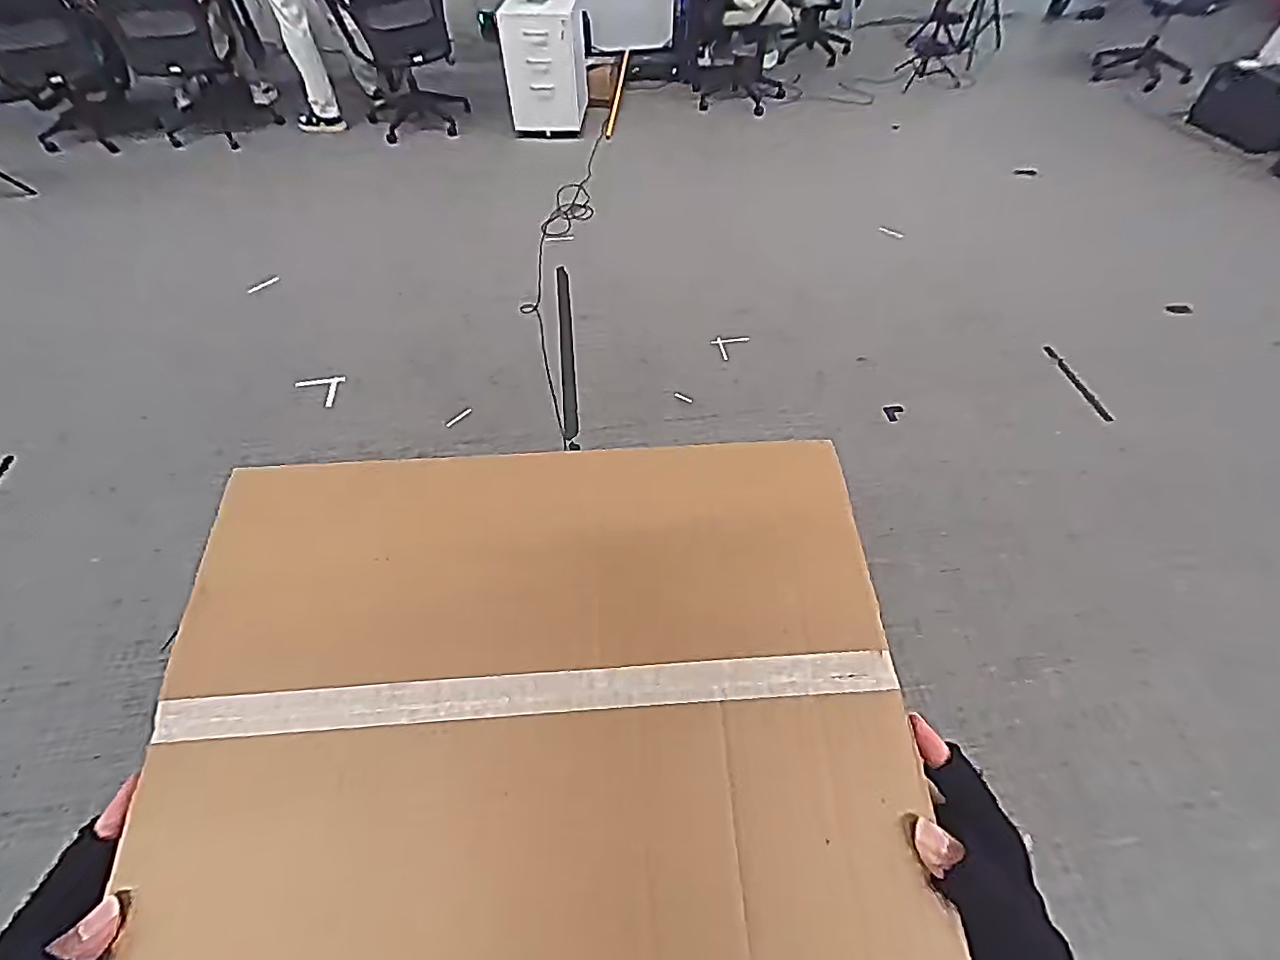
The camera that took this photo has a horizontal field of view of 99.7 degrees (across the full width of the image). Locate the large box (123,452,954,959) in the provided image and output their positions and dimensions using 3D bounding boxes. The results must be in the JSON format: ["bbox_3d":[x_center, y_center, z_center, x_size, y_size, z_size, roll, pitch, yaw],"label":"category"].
[{"bbox_3d":[-0.059,0.197,0.445,0.408,0.320,0.320,-3,63,-2],"label":"large box"}]
